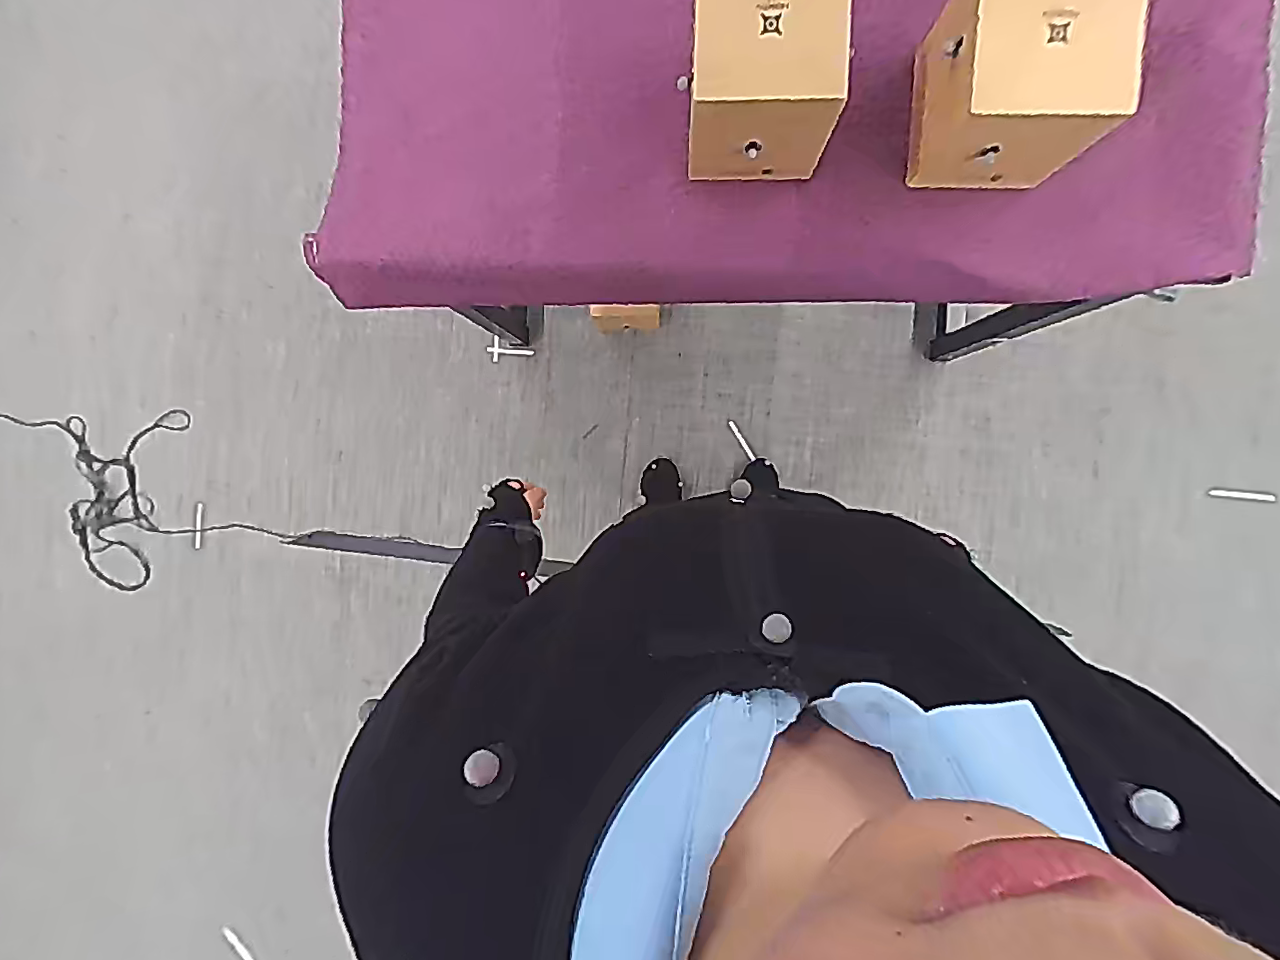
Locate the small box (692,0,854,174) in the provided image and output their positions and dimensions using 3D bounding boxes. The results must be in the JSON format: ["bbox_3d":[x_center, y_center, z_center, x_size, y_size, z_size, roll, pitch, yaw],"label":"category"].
[{"bbox_3d":[0.150,-0.500,0.658,0.168,0.176,0.179,2,92,3],"label":"small box"}]

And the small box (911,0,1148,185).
[{"bbox_3d":[0.440,-0.473,0.638,0.168,0.176,0.179,3,93,4],"label":"small box"}]
